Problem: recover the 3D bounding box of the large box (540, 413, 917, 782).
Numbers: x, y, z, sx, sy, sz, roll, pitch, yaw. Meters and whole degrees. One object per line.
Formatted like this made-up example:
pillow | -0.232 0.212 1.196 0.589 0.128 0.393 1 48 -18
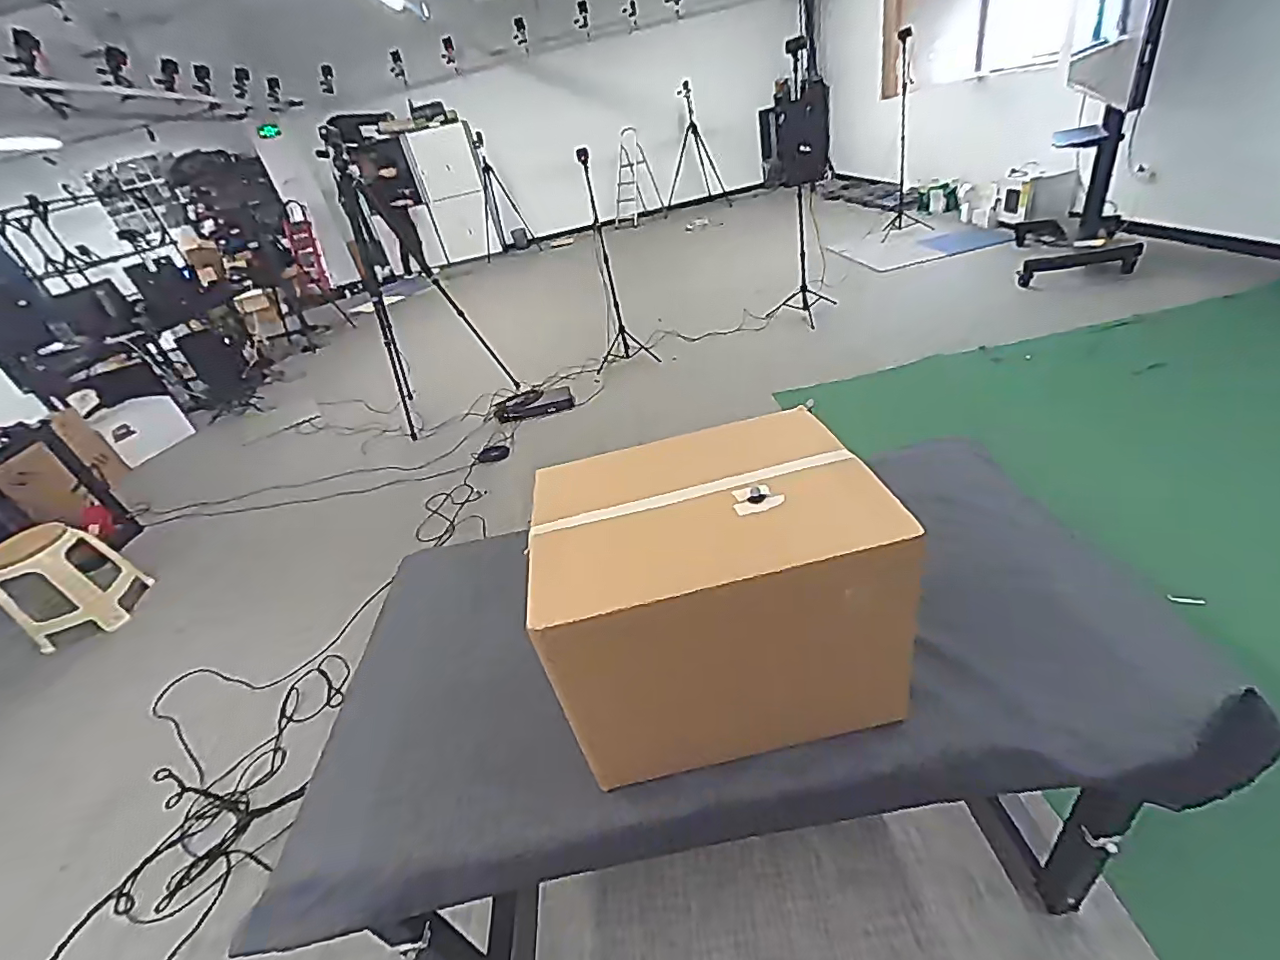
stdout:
large box | 0.096 0.147 0.745 0.408 0.320 0.320 -13 33 -1
